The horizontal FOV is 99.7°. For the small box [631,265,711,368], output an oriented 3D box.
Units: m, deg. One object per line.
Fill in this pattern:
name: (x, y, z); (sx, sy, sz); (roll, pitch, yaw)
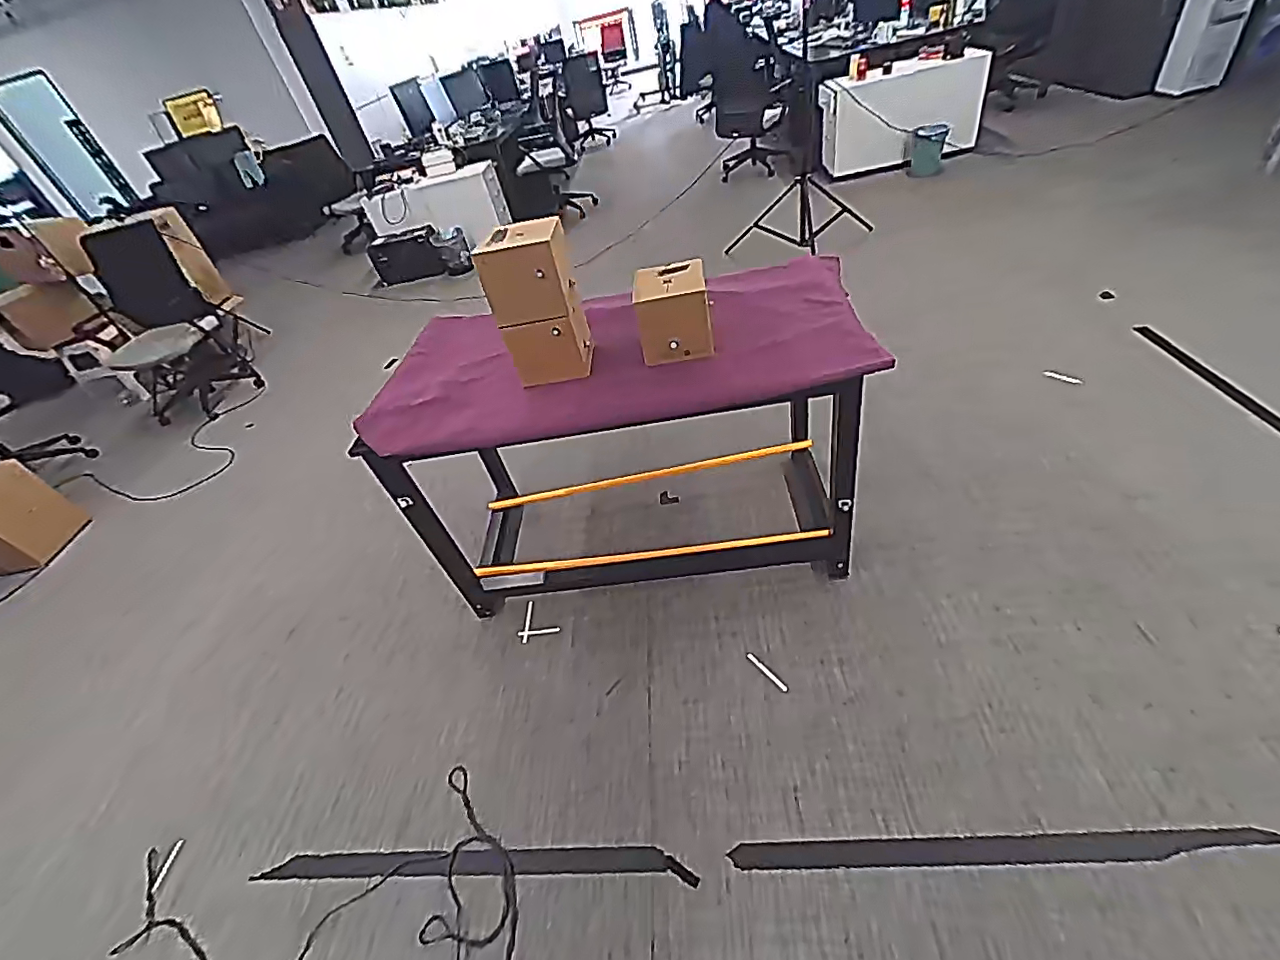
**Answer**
small box: (0.079, -0.394, 1.307); (0.168, 0.176, 0.179); (-7, 42, 10)

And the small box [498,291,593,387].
small box: (-0.228, -0.348, 1.350); (0.179, 0.176, 0.168); (-7, 41, 8)
